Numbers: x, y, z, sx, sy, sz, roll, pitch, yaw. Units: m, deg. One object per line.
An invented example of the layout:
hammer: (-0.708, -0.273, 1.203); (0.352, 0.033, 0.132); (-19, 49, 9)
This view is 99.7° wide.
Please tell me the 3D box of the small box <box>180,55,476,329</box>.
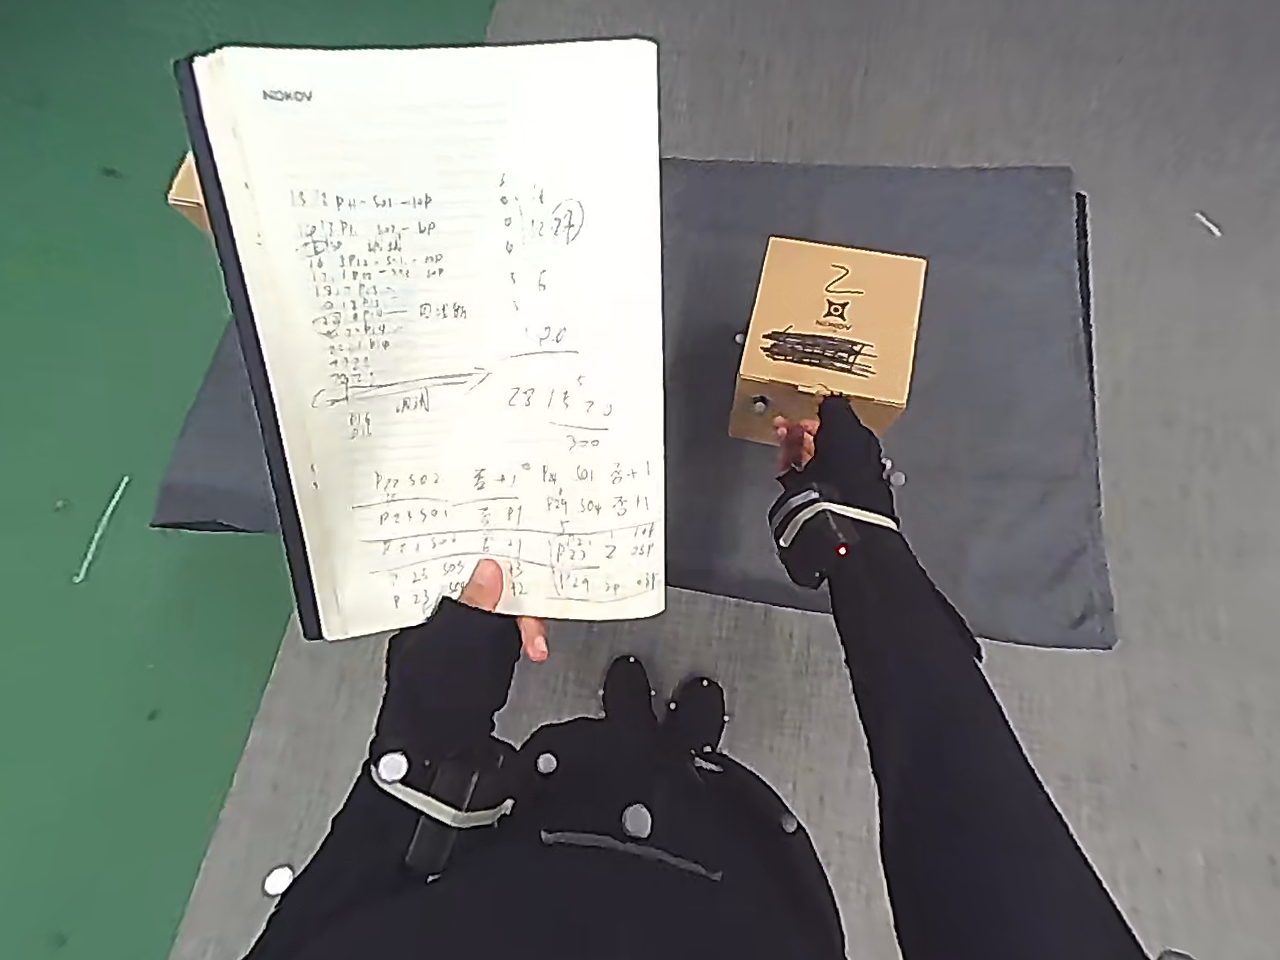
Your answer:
small box: (-0.288, -0.276, 0.545); (0.168, 0.176, 0.179); (11, 73, 8)

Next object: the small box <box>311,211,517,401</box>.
small box: (-0.272, -0.225, 0.700); (0.168, 0.176, 0.179); (9, 74, 8)
